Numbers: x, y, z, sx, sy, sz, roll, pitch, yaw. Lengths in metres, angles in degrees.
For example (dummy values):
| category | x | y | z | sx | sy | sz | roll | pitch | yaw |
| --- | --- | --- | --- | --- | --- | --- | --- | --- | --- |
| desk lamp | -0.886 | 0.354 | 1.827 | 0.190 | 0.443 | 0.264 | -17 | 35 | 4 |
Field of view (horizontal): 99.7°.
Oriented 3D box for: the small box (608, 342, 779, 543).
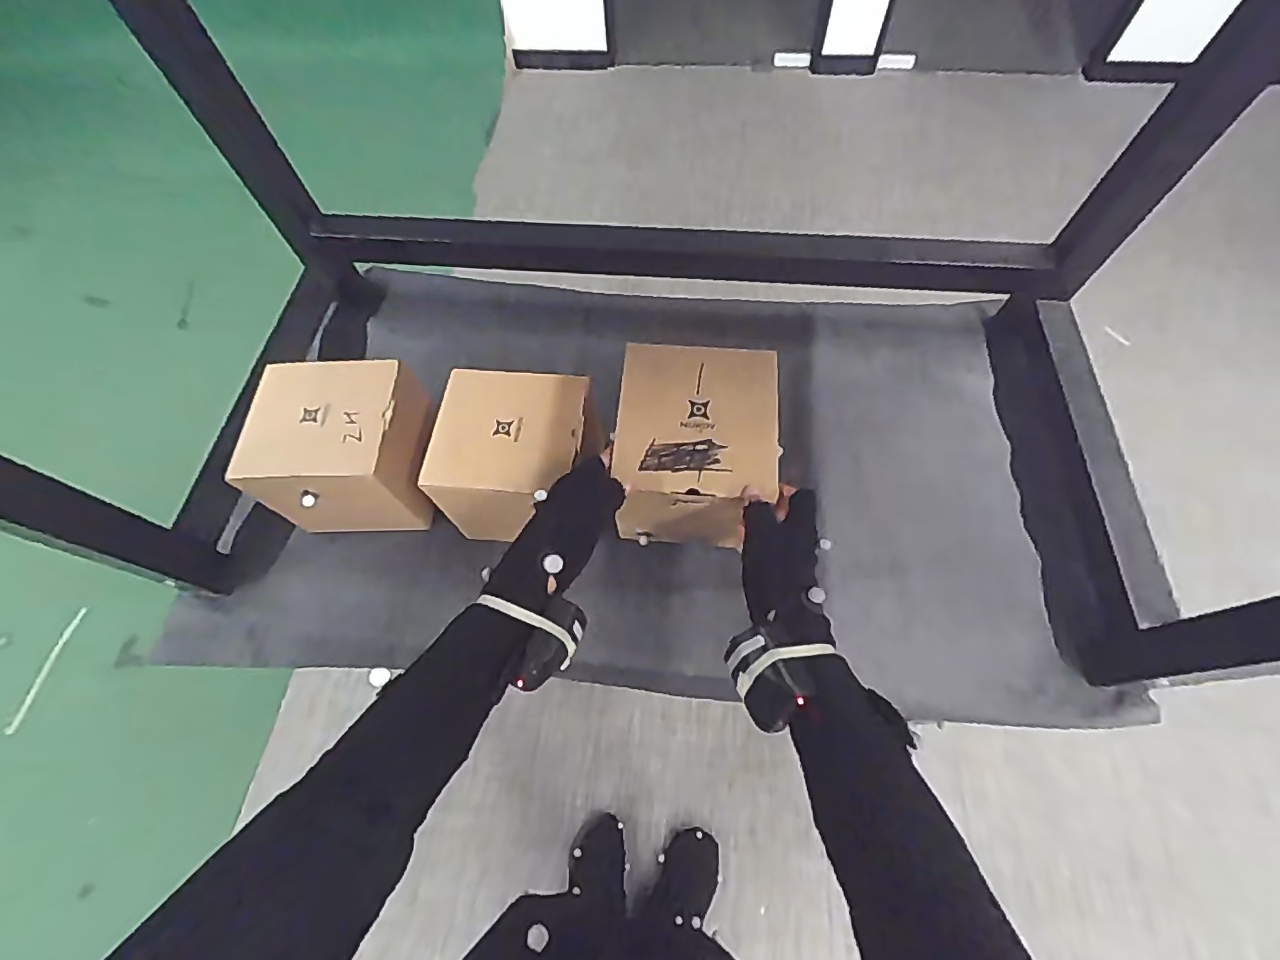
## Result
| category | x | y | z | sx | sy | sz | roll | pitch | yaw |
| --- | --- | --- | --- | --- | --- | --- | --- | --- | --- |
| small box | 0.062 | -0.034 | 0.622 | 0.168 | 0.176 | 0.179 | 4 | 67 | 4 |
